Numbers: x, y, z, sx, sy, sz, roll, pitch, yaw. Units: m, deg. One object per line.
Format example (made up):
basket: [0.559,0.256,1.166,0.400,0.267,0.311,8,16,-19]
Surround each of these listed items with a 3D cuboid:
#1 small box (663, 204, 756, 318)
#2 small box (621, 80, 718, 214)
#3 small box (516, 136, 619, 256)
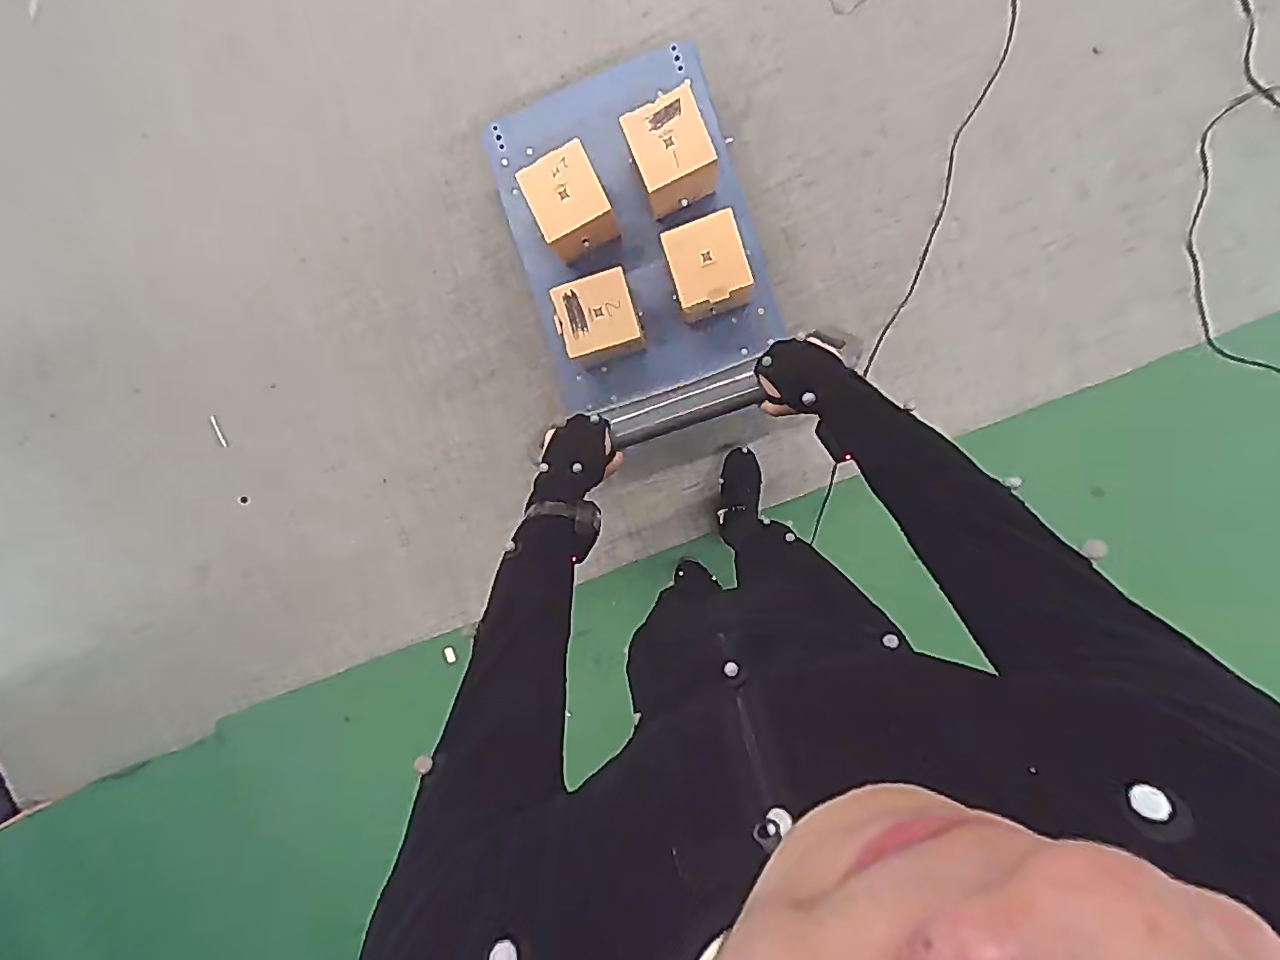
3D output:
small box: [0.158,-0.503,1.266,0.168,0.176,0.179,-18,94,8]
small box: [0.071,-0.756,1.249,0.168,0.176,0.179,-23,94,9]
small box: [-0.163,-0.658,1.283,0.168,0.176,0.179,-25,92,7]
